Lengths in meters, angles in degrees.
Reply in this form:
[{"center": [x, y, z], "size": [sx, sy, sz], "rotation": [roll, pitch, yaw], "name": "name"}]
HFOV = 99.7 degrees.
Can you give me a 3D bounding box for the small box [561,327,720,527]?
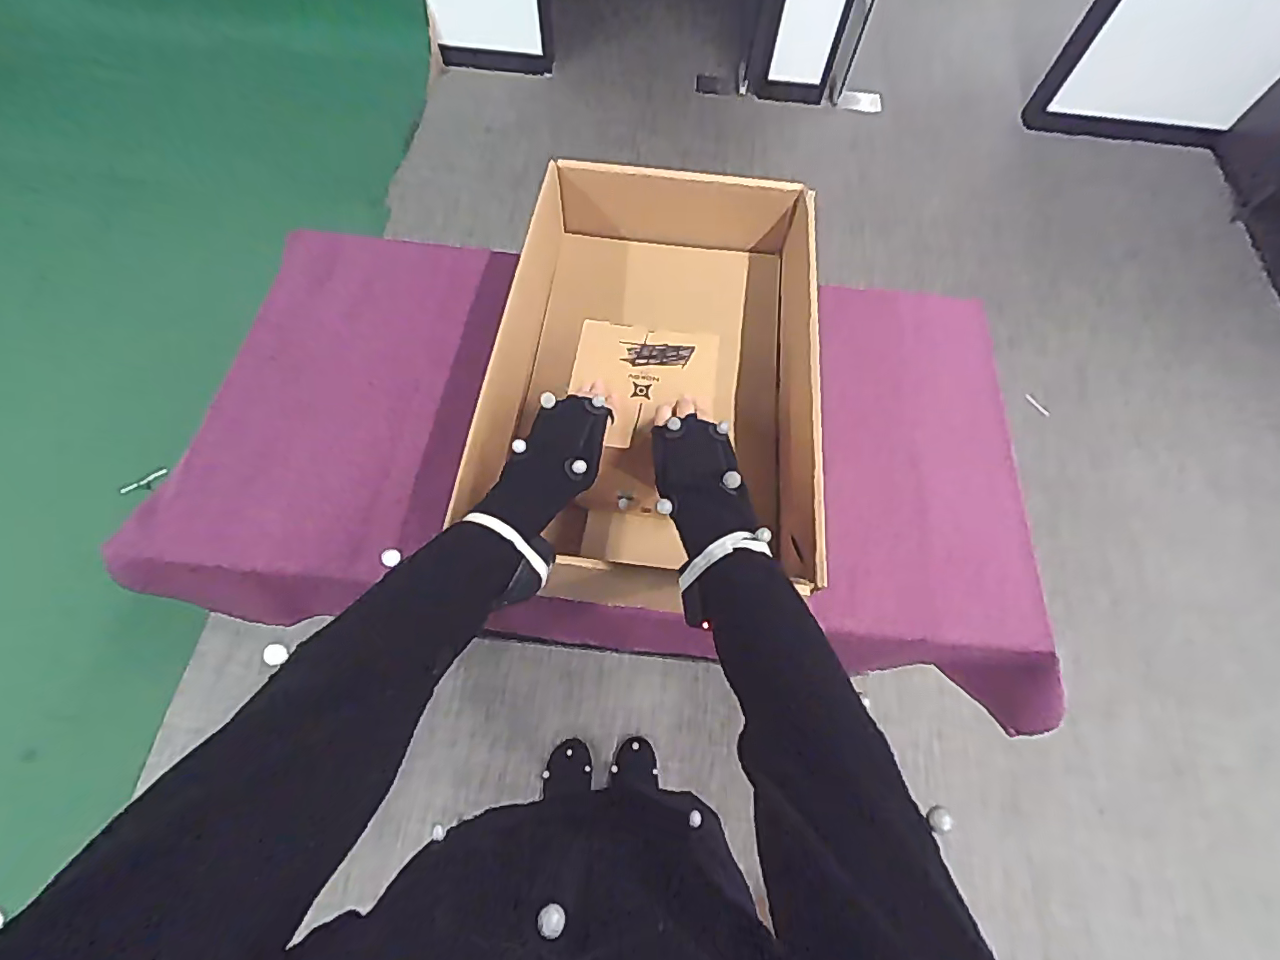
[{"center": [0.002, -0.061, 0.681], "size": [0.168, 0.176, 0.179], "rotation": [7, 62, 1], "name": "small box"}]
